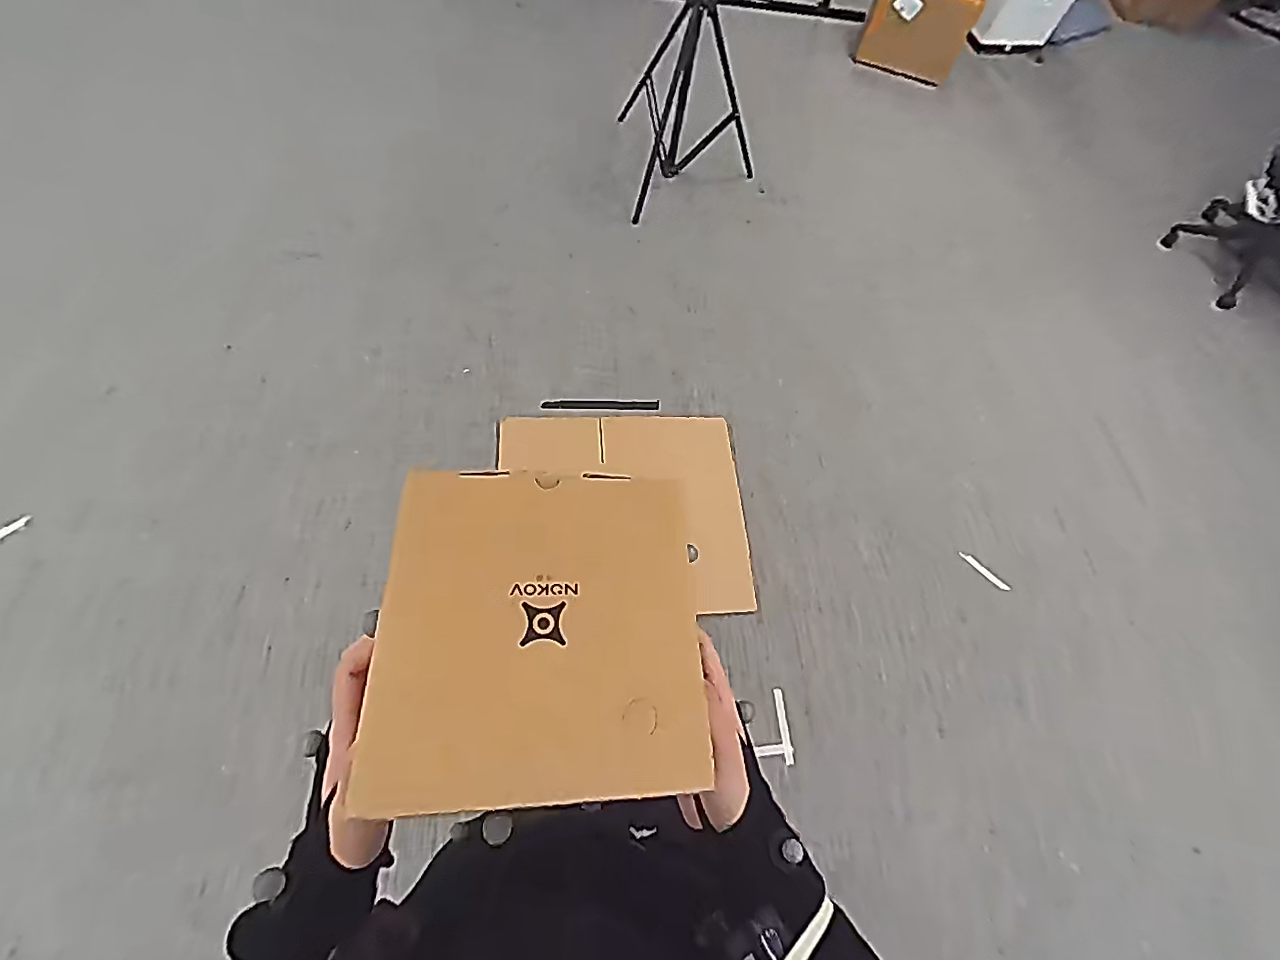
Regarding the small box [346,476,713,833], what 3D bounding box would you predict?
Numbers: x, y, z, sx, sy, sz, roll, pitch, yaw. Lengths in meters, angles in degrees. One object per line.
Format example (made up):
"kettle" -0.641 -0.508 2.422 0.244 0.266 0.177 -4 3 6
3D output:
"small box" -0.062 0.114 0.349 0.168 0.176 0.179 1 58 -10
